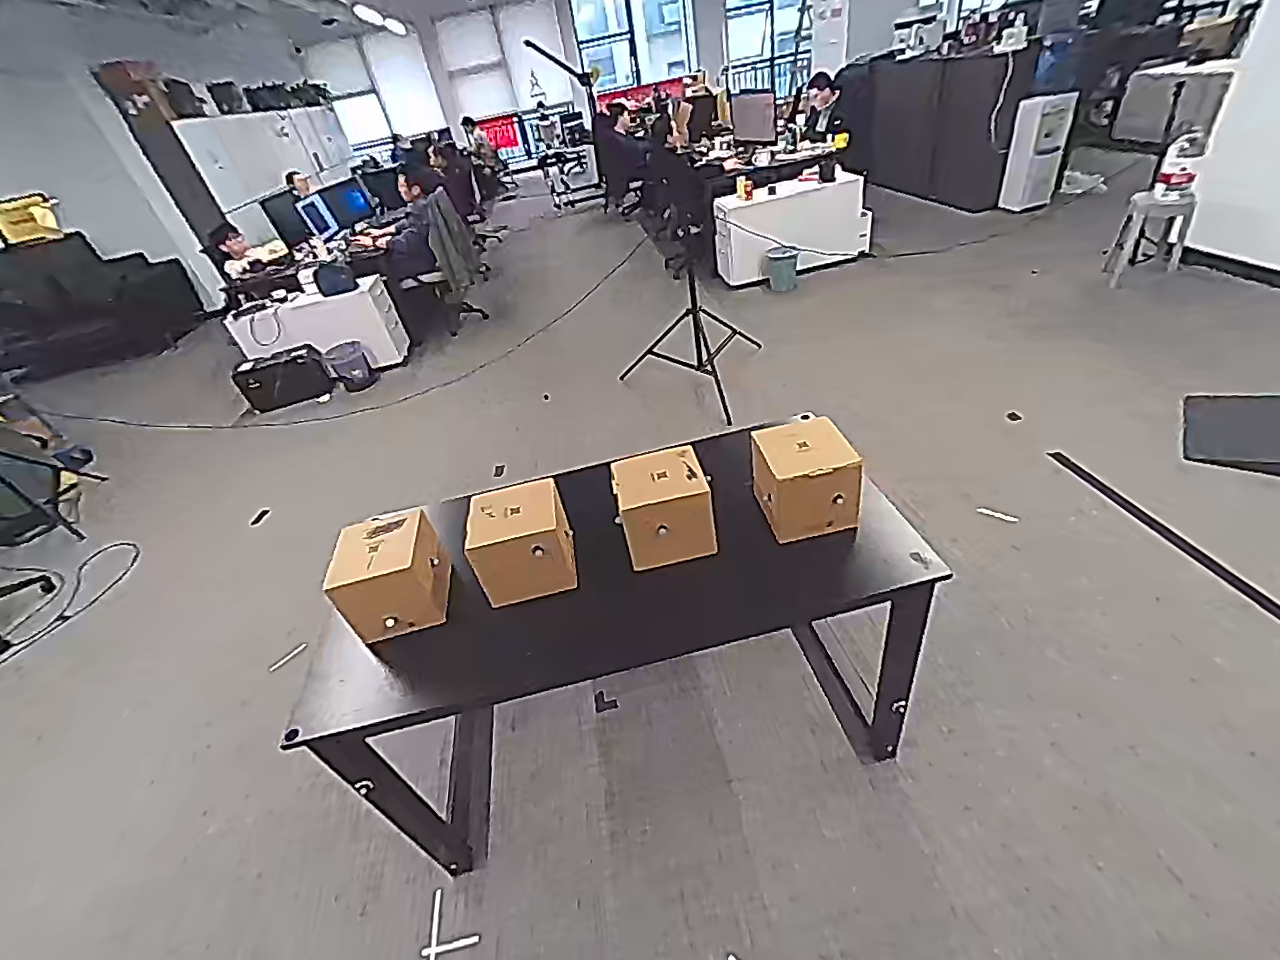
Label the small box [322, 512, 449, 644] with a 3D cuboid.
[{"bbox_3d":[-0.500,0.197,1.095,0.168,0.176,0.179,-15,38,-4],"label":"small box"}]

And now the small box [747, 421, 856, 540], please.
[{"bbox_3d":[0.327,0.006,1.114,0.168,0.176,0.179,-12,36,0],"label":"small box"}]

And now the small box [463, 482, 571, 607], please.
[{"bbox_3d":[-0.242,0.132,1.106,0.179,0.176,0.168,-14,36,-3],"label":"small box"}]

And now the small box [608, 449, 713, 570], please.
[{"bbox_3d":[0.043,0.064,1.119,0.179,0.176,0.168,-13,37,0],"label":"small box"}]
